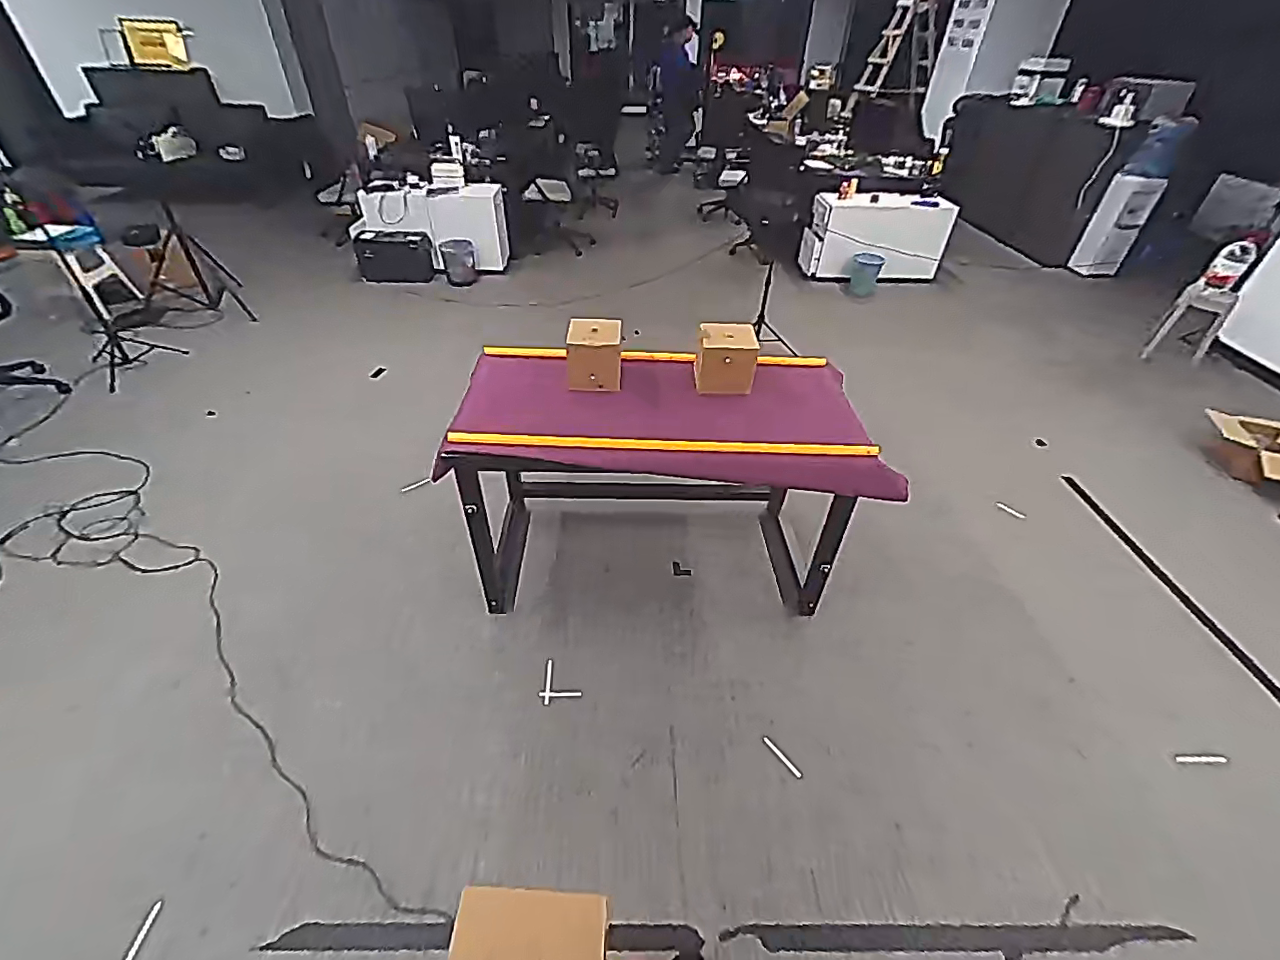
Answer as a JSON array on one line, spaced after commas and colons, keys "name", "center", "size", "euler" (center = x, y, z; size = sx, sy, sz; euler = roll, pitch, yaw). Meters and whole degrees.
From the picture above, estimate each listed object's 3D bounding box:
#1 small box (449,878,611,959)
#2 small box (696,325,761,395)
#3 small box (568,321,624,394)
[{"name": "small box", "center": [-0.134, 0.597, 0.629], "size": [0.179, 0.176, 0.168], "euler": [7, 34, -5]}, {"name": "small box", "center": [0.283, -0.388, 1.764], "size": [0.179, 0.176, 0.168], "euler": [1, 41, 0]}, {"name": "small box", "center": [-0.140, -0.399, 1.758], "size": [0.168, 0.176, 0.179], "euler": [1, 42, 0]}]
